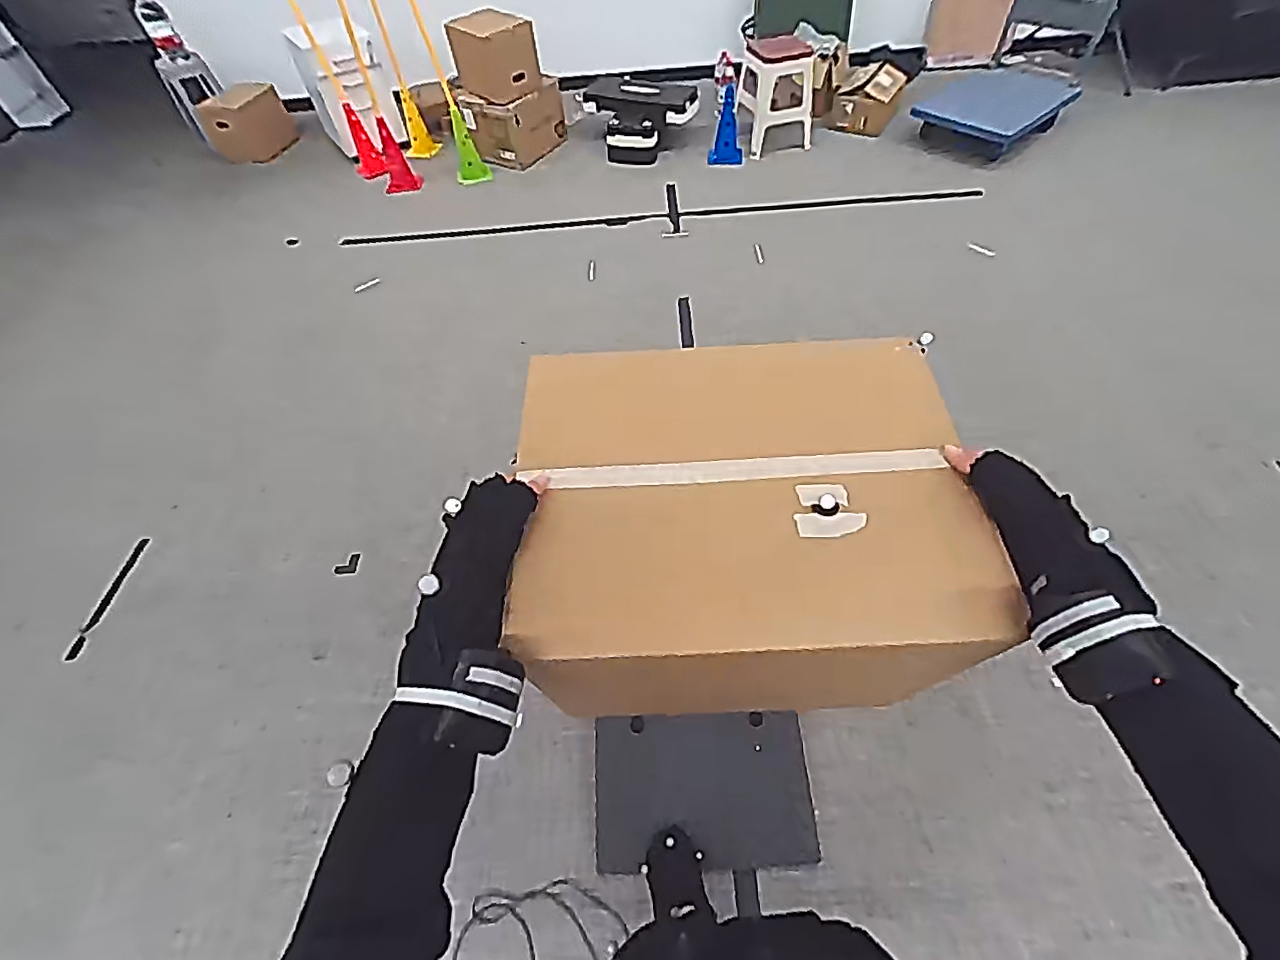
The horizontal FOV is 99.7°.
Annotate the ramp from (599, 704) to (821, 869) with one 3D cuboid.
[{"bbox_3d":[0.133,0.398,1.413,0.509,0.206,0.991,-5,53,0],"label":"ramp"}]

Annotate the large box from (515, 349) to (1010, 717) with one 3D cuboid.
[{"bbox_3d":[0.094,0.078,0.631,0.408,0.320,0.320,-3,59,1],"label":"large box"}]
